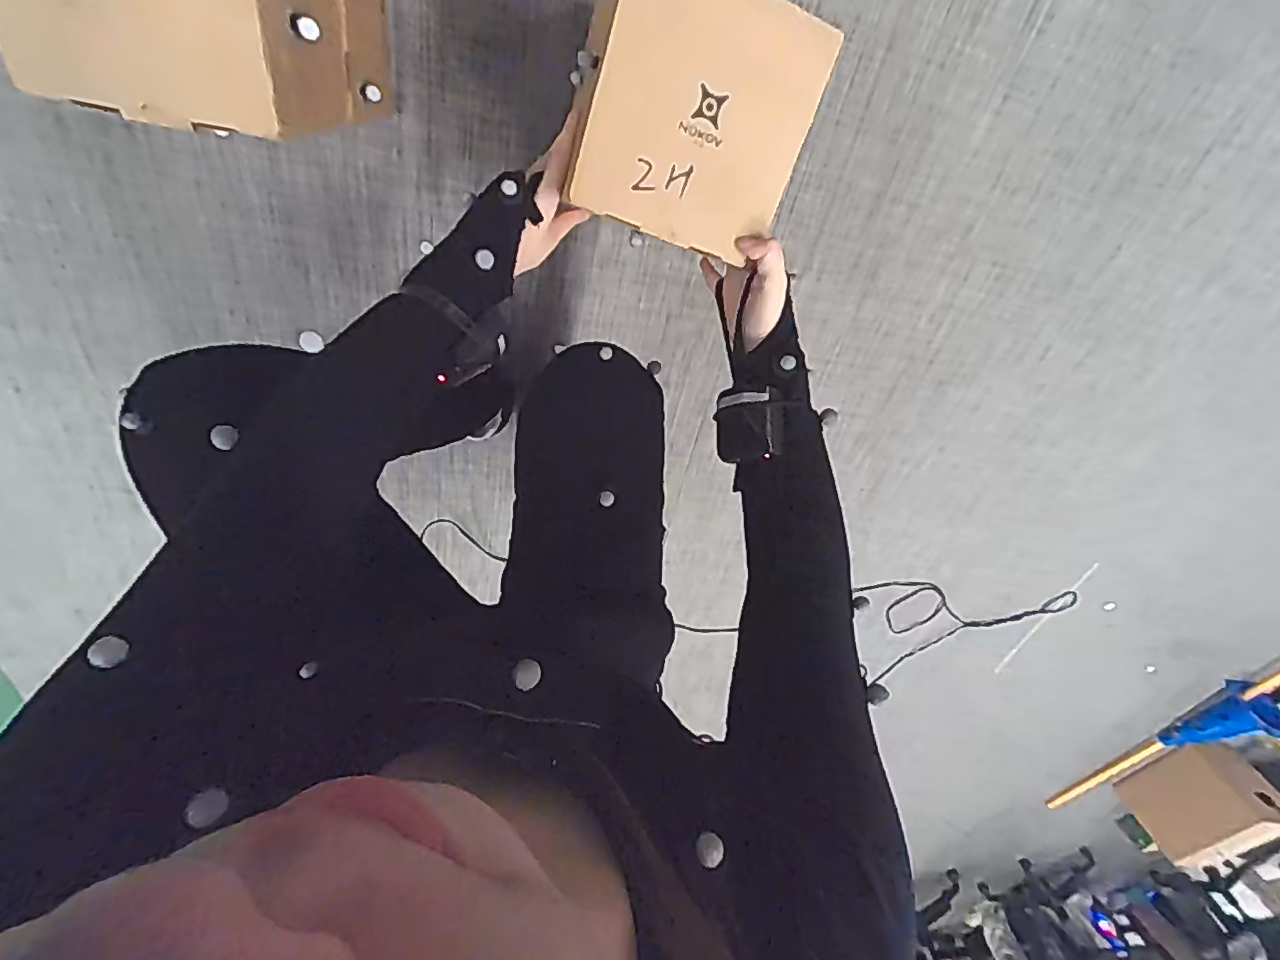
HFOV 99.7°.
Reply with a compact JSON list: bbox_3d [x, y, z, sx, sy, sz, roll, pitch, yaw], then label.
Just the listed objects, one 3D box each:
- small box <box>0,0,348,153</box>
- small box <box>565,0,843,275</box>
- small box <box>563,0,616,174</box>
[{"bbox_3d":[-0.335,-0.368,0.400,0.168,0.176,0.179,3,127,-13],"label":"small box"},{"bbox_3d":[0.035,-0.305,0.479,0.168,0.176,0.179,12,114,-18],"label":"small box"},{"bbox_3d":[0.008,-0.417,0.634,0.168,0.176,0.179,10,125,-18],"label":"small box"}]
